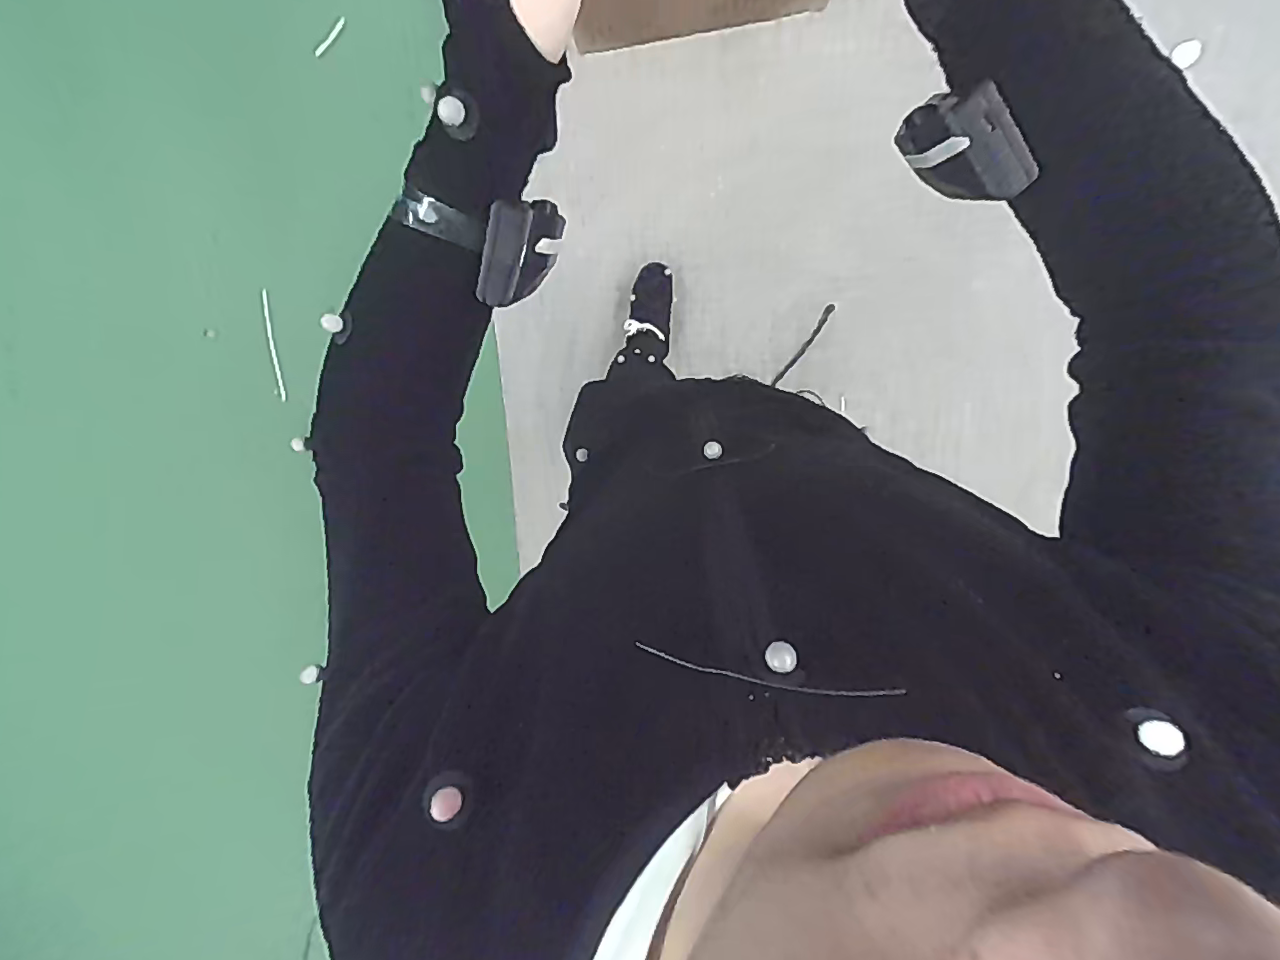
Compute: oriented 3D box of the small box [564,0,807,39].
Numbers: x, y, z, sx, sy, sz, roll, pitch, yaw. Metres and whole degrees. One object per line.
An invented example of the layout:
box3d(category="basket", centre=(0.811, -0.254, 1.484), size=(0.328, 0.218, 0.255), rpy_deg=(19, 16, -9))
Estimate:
box3d(category="small box", centre=(0.024, -0.377, 0.283), size=(0.179, 0.176, 0.168), rpy_deg=(-5, 98, 6))
